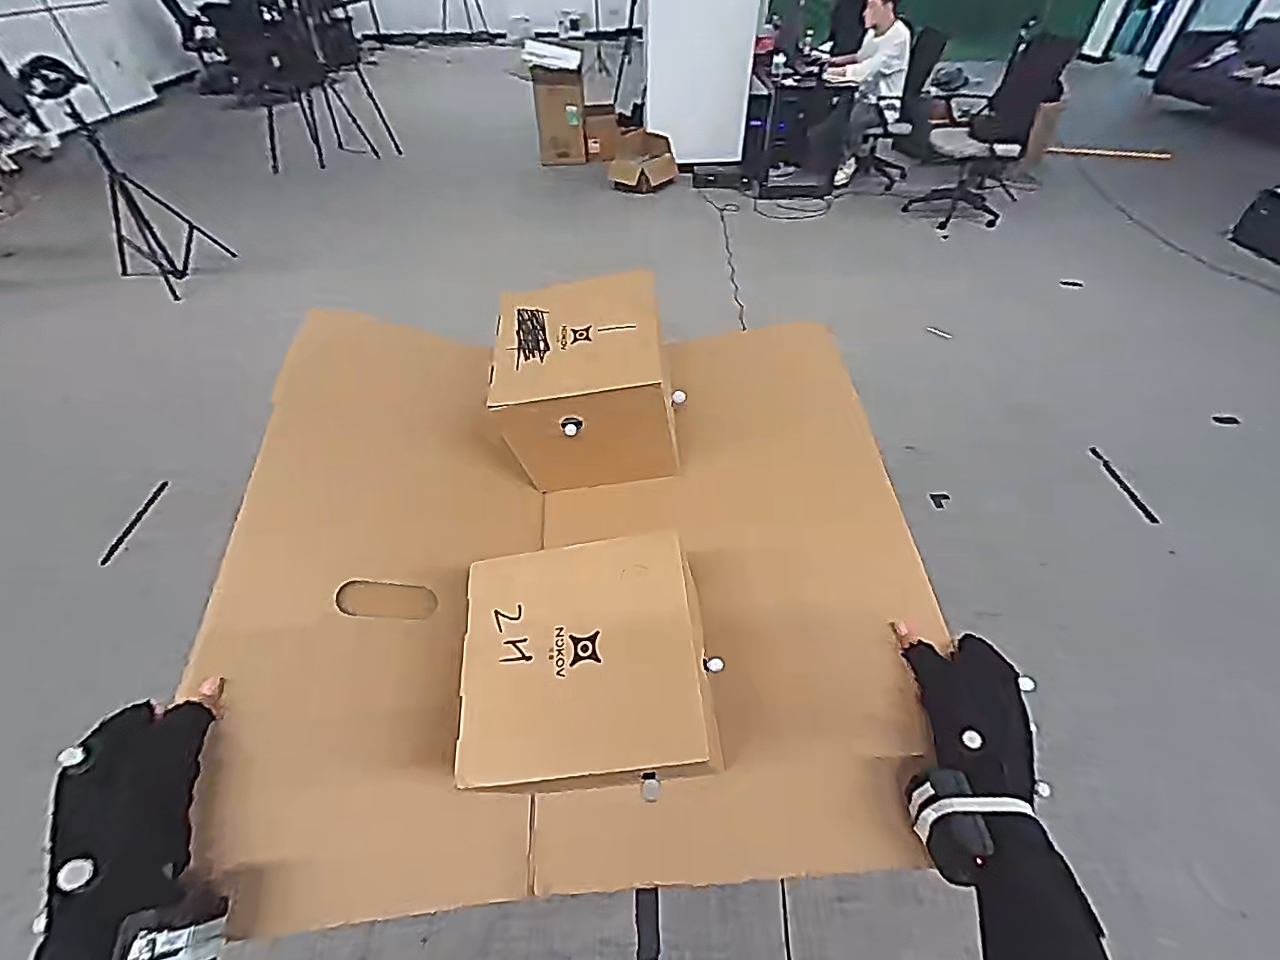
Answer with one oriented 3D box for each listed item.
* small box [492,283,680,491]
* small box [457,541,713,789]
[{"bbox_3d":[-0.052,-0.099,0.638,0.179,0.176,0.168,-7,58,7],"label":"small box"},{"bbox_3d":[-0.032,0.169,0.471,0.179,0.176,0.168,-9,58,7],"label":"small box"}]
